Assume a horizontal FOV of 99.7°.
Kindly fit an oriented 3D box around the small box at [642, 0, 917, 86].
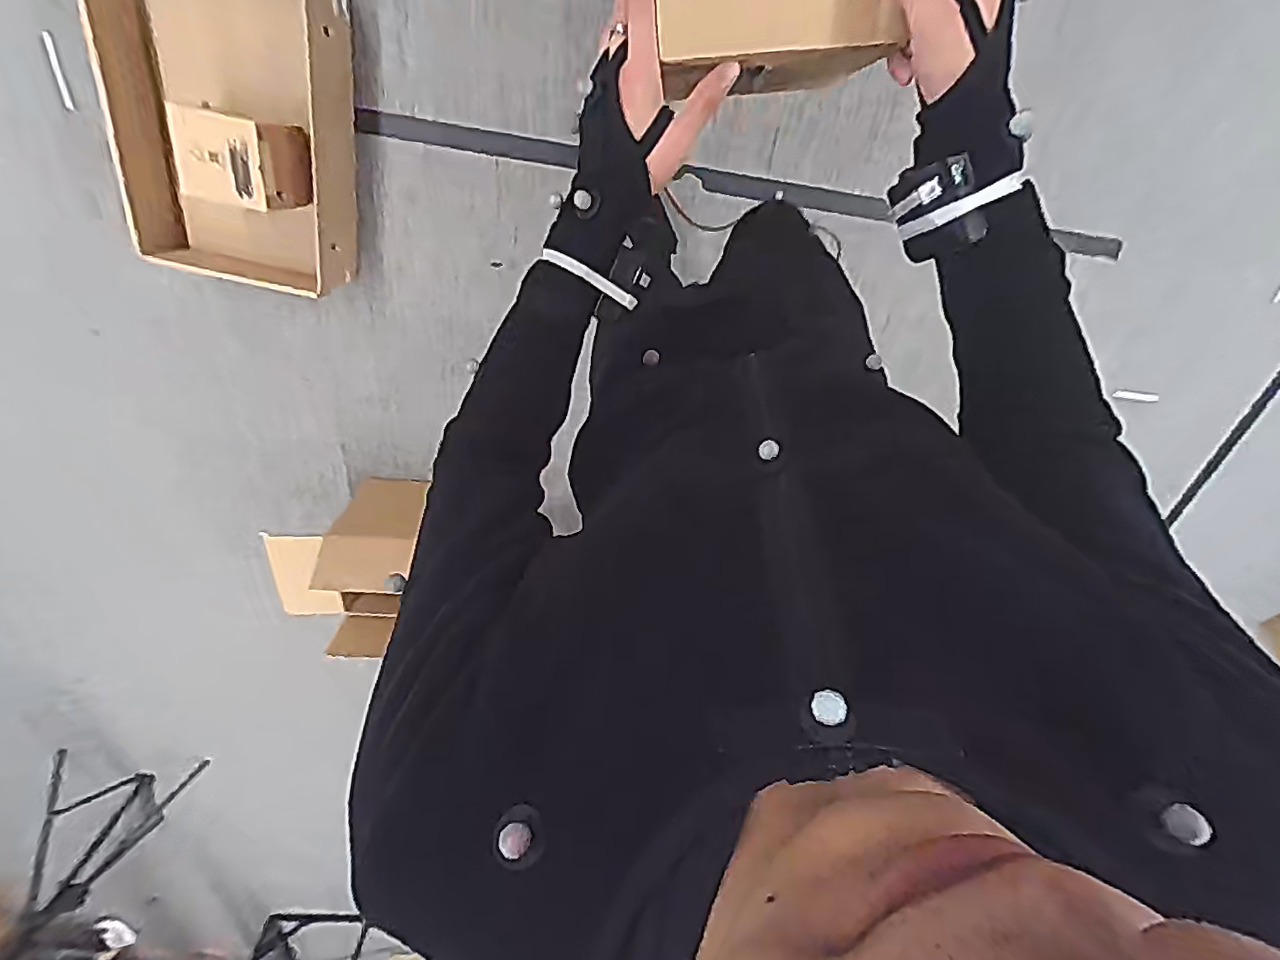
[{"bbox_3d":[0.089,-0.403,0.394,0.179,0.176,0.168,-4,118,-1],"label":"small box"}]
